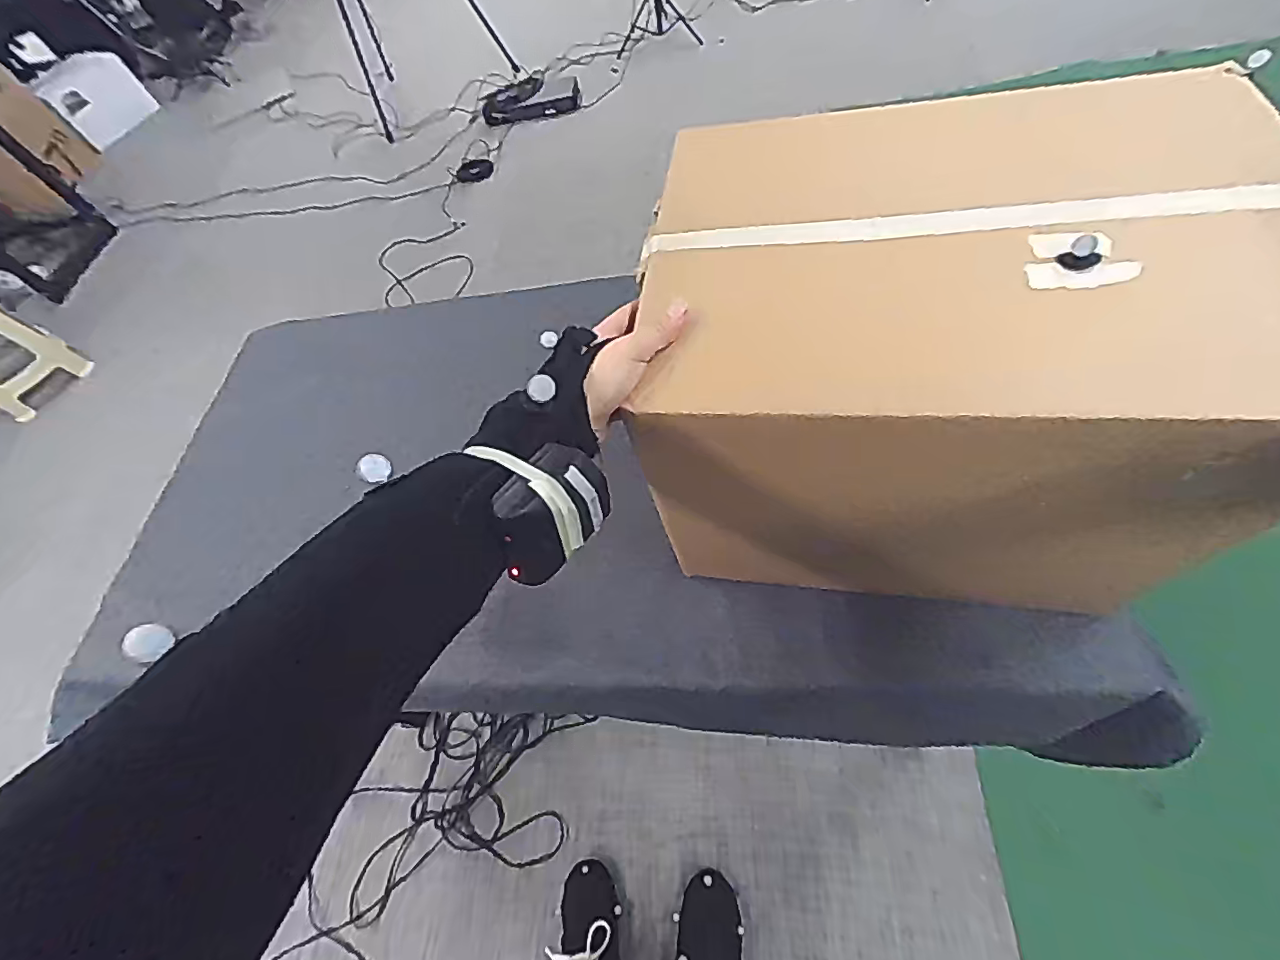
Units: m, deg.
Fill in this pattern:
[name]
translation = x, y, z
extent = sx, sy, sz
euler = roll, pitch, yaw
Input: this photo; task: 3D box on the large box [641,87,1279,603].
[large box]
translation = 0.238, -0.093, 0.499
extent = 0.408, 0.320, 0.320
euler = 3, 62, 14
